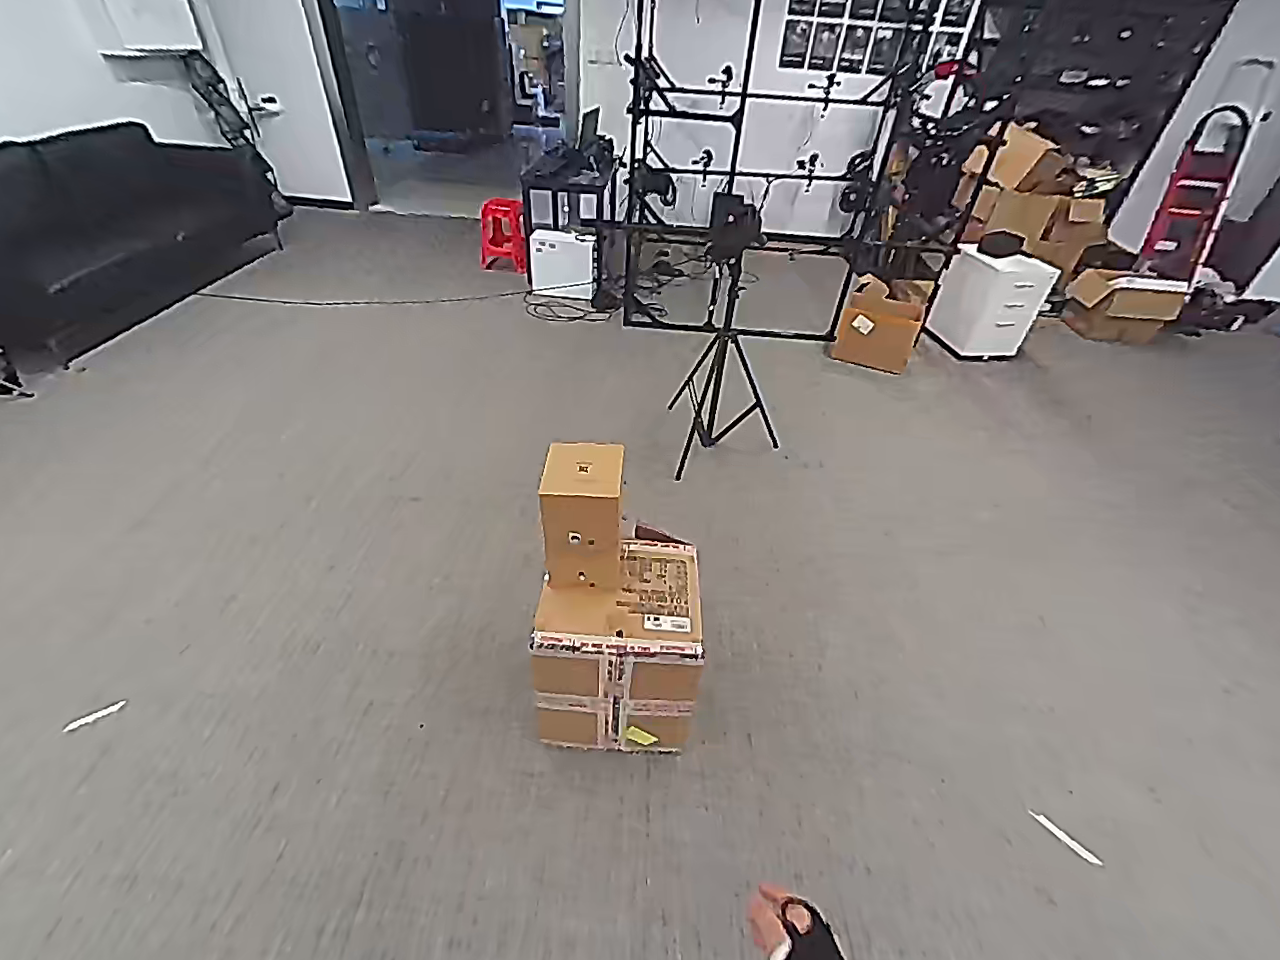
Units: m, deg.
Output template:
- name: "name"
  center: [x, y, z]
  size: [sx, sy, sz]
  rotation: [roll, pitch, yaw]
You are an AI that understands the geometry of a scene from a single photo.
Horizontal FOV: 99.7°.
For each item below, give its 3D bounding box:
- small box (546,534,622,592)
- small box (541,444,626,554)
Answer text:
- name: "small box"
  center: [-0.130, 0.150, 1.320]
  size: [0.168, 0.176, 0.179]
  rotation: [2, 41, 0]
- name: "small box"
  center: [-0.119, 0.041, 1.197]
  size: [0.168, 0.176, 0.179]
  rotation: [2, 42, 0]
